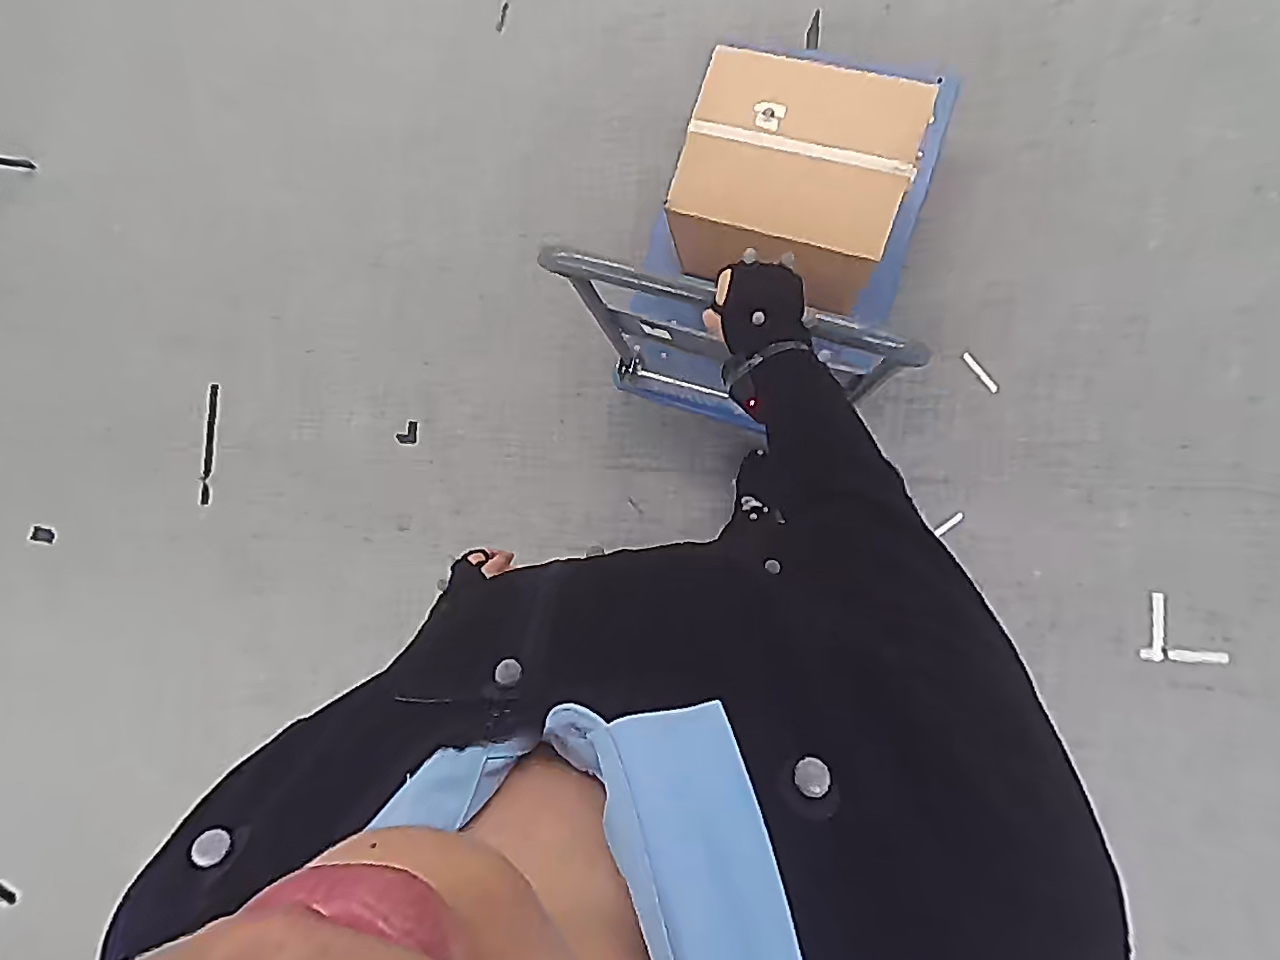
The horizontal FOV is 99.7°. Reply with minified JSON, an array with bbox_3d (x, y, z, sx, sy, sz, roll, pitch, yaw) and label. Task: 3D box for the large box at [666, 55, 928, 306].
[{"bbox_3d":[0.309,-0.598,1.134,0.408,0.320,0.320,18,92,11],"label":"large box"}]
